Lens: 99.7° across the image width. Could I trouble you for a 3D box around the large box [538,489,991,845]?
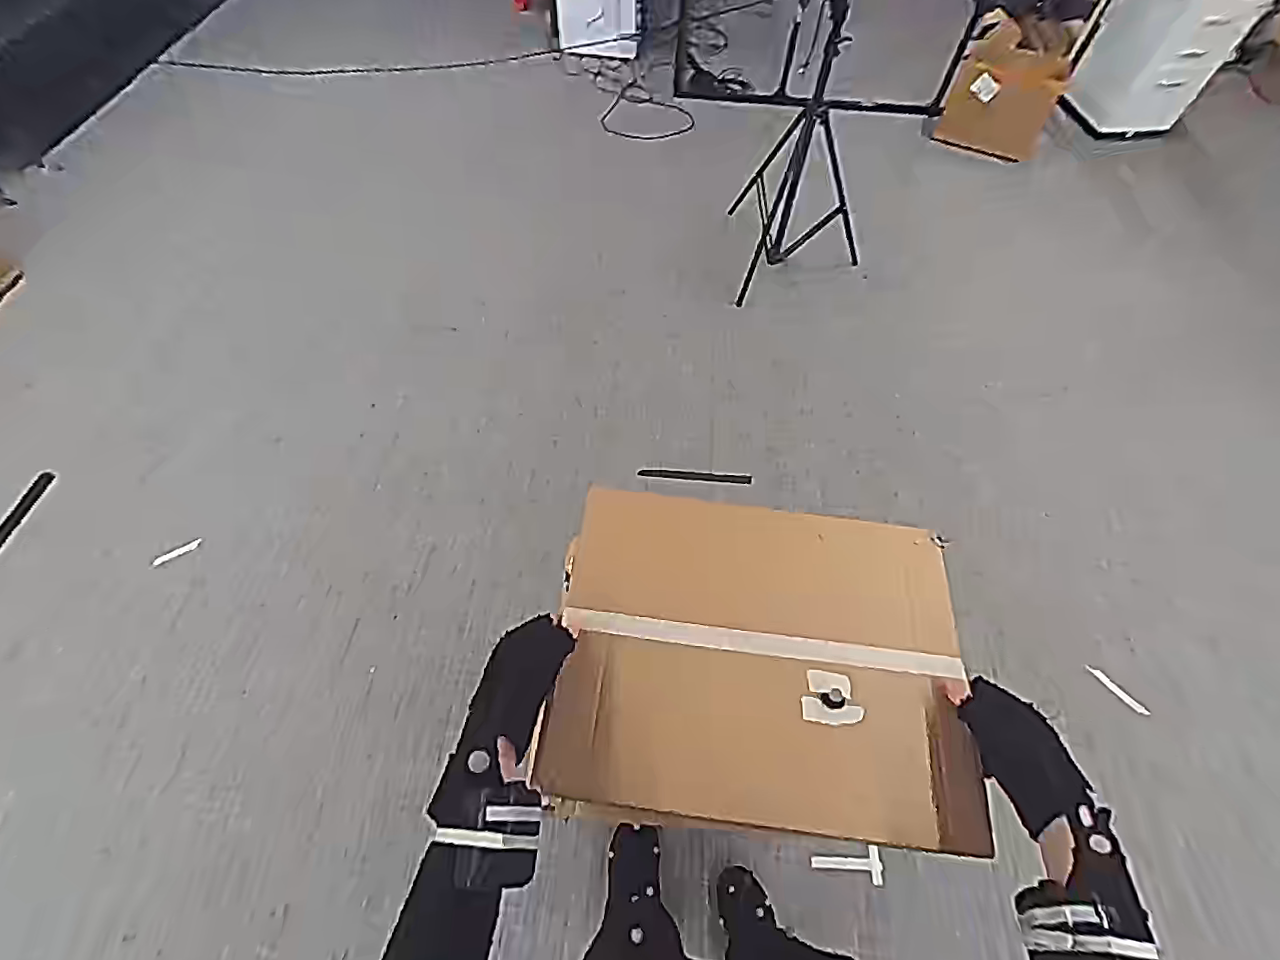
[{"bbox_3d":[0.113,0.236,0.668,0.408,0.320,0.320,7,60,1],"label":"large box"}]
